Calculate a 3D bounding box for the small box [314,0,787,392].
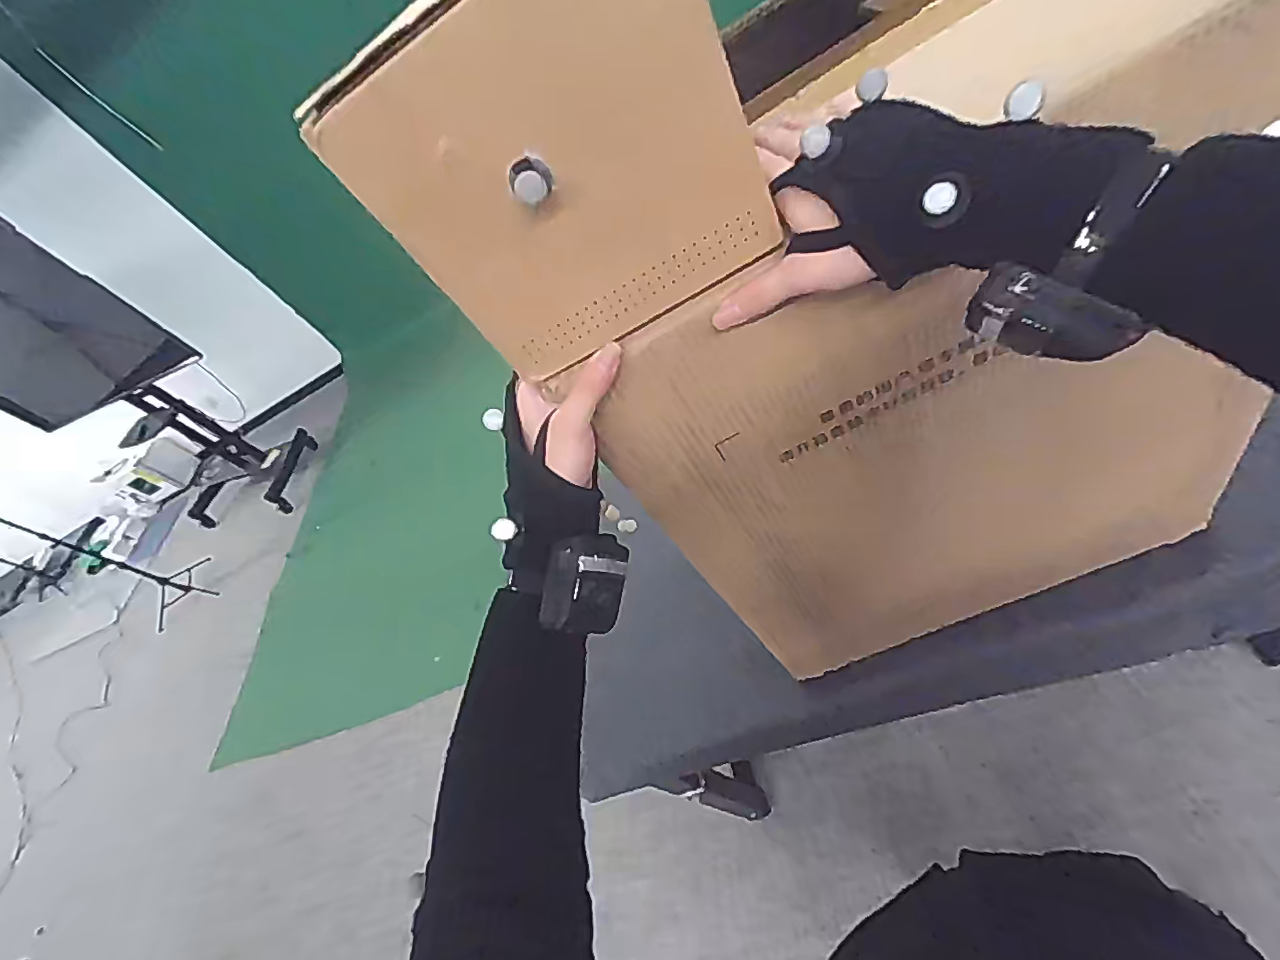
[{"bbox_3d":[-0.040,-0.184,0.317,0.179,0.176,0.168,-27,47,14],"label":"small box"}]
